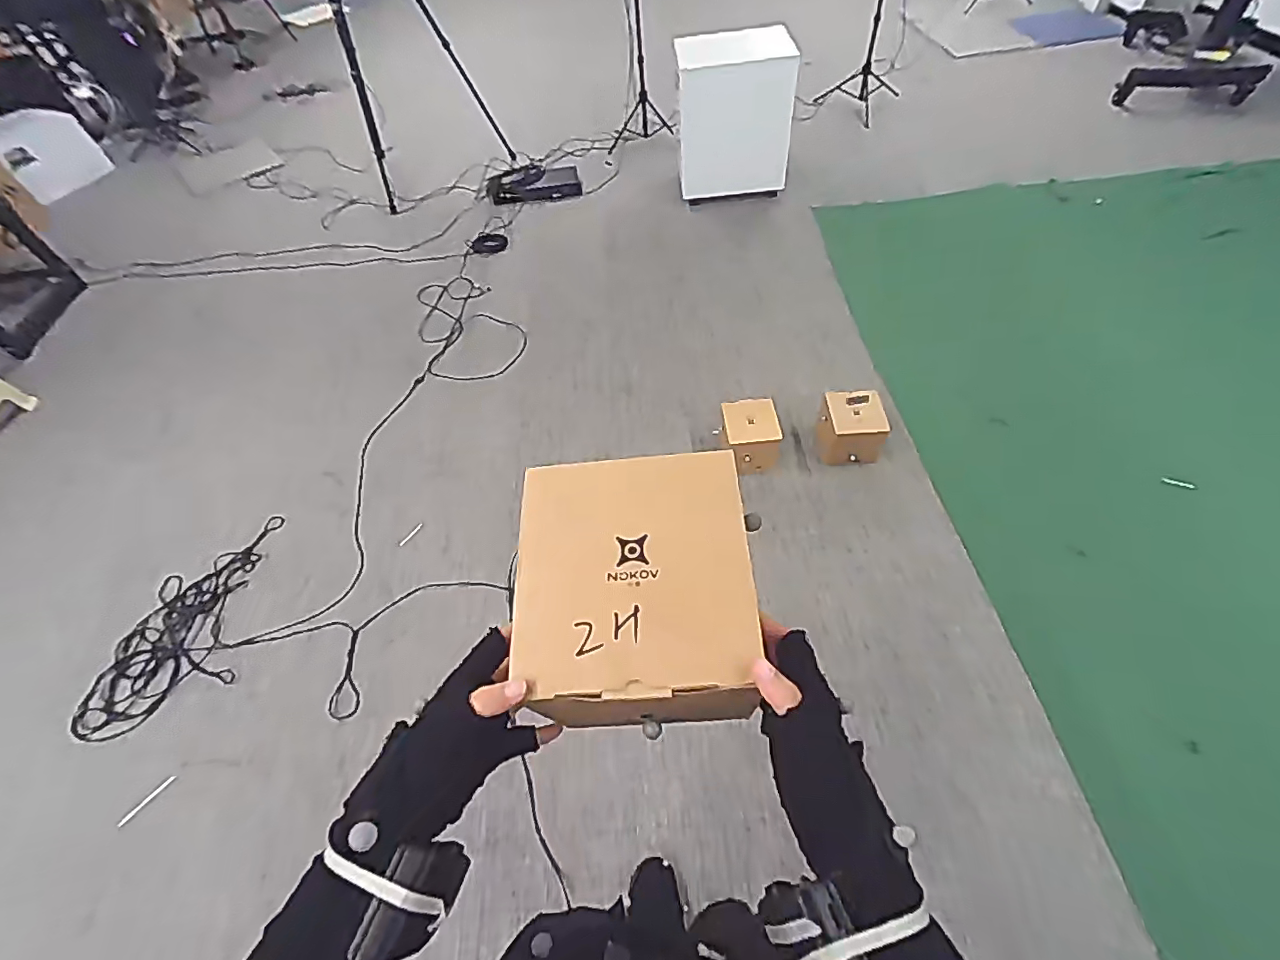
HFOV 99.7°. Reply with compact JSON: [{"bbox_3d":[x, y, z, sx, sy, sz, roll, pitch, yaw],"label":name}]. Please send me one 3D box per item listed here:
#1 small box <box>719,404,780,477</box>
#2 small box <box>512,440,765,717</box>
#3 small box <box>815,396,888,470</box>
[{"bbox_3d":[0.351,-0.121,1.764,0.168,0.176,0.179,-7,52,1],"label":"small box"},{"bbox_3d":[0.004,0.089,0.454,0.168,0.176,0.179,-6,58,5],"label":"small box"},{"bbox_3d":[0.675,-0.151,1.750,0.168,0.176,0.179,-3,54,4],"label":"small box"}]
